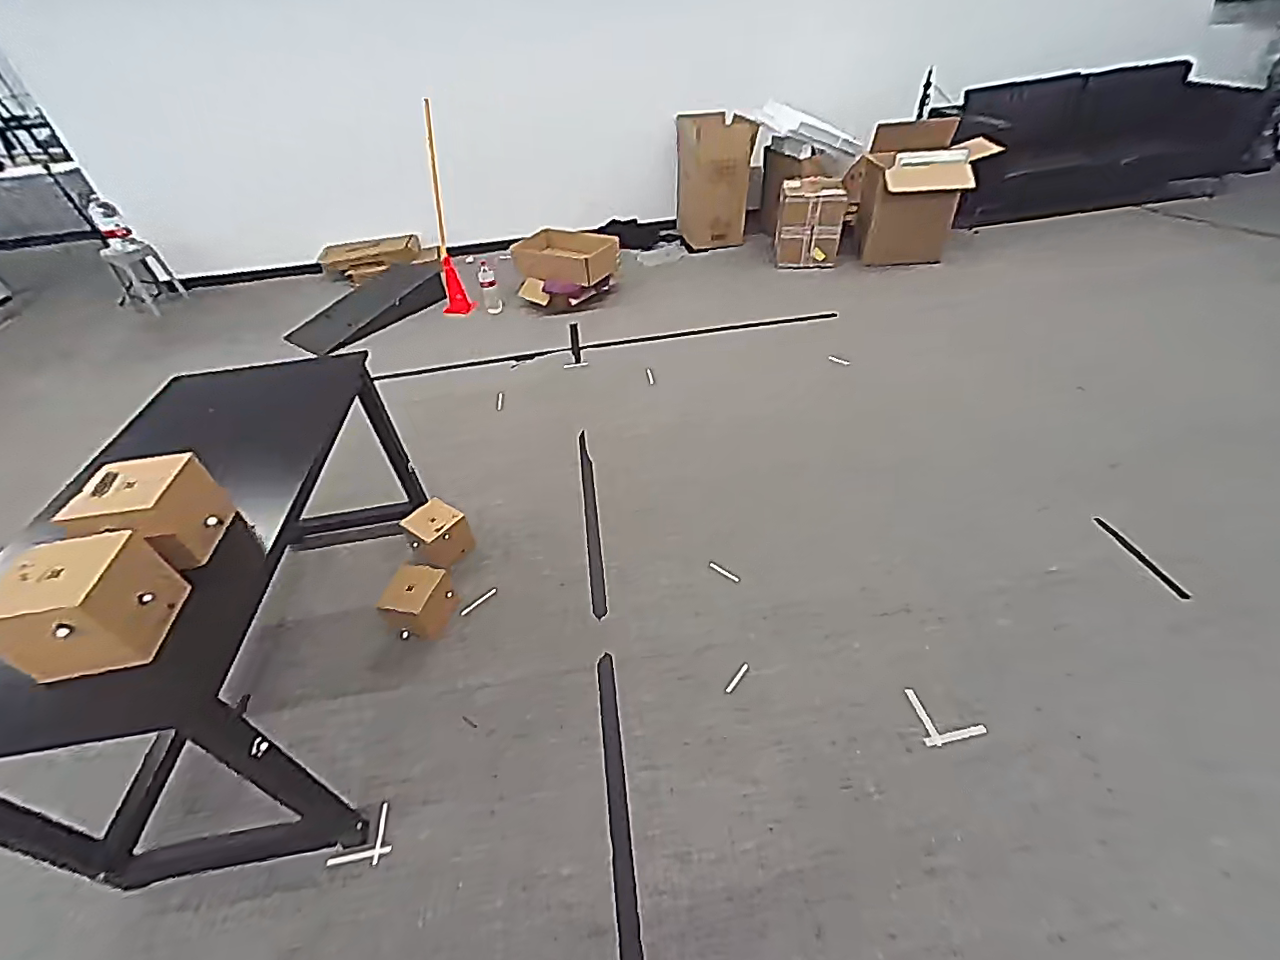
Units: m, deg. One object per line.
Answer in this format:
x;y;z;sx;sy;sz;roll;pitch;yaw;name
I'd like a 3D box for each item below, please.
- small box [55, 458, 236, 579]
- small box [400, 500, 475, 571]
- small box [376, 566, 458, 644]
-0.977;0.080;1.090;0.179;0.176;0.168;-9;42;-4;small box
-0.749;0.211;2.014;0.179;0.176;0.168;23;49;28;small box
-0.727;0.414;1.790;0.168;0.176;0.179;5;44;12;small box
